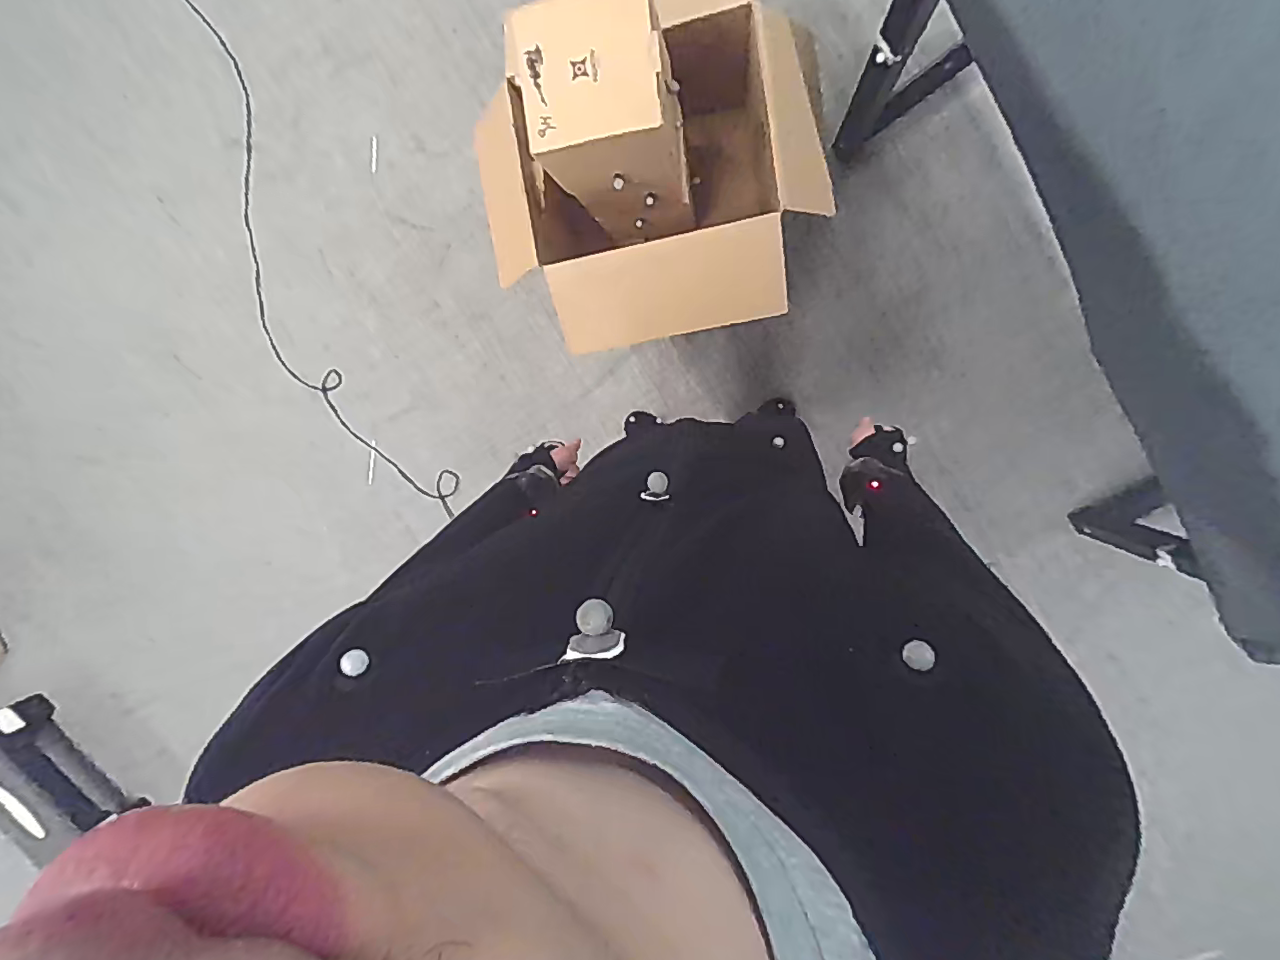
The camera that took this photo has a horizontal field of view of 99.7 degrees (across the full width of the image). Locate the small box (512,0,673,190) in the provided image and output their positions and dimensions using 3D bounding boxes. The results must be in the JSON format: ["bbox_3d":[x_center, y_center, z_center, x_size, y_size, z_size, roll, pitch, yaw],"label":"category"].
[{"bbox_3d":[-0.051,-0.518,0.732,0.179,0.176,0.168,-5,99,11],"label":"small box"}]
